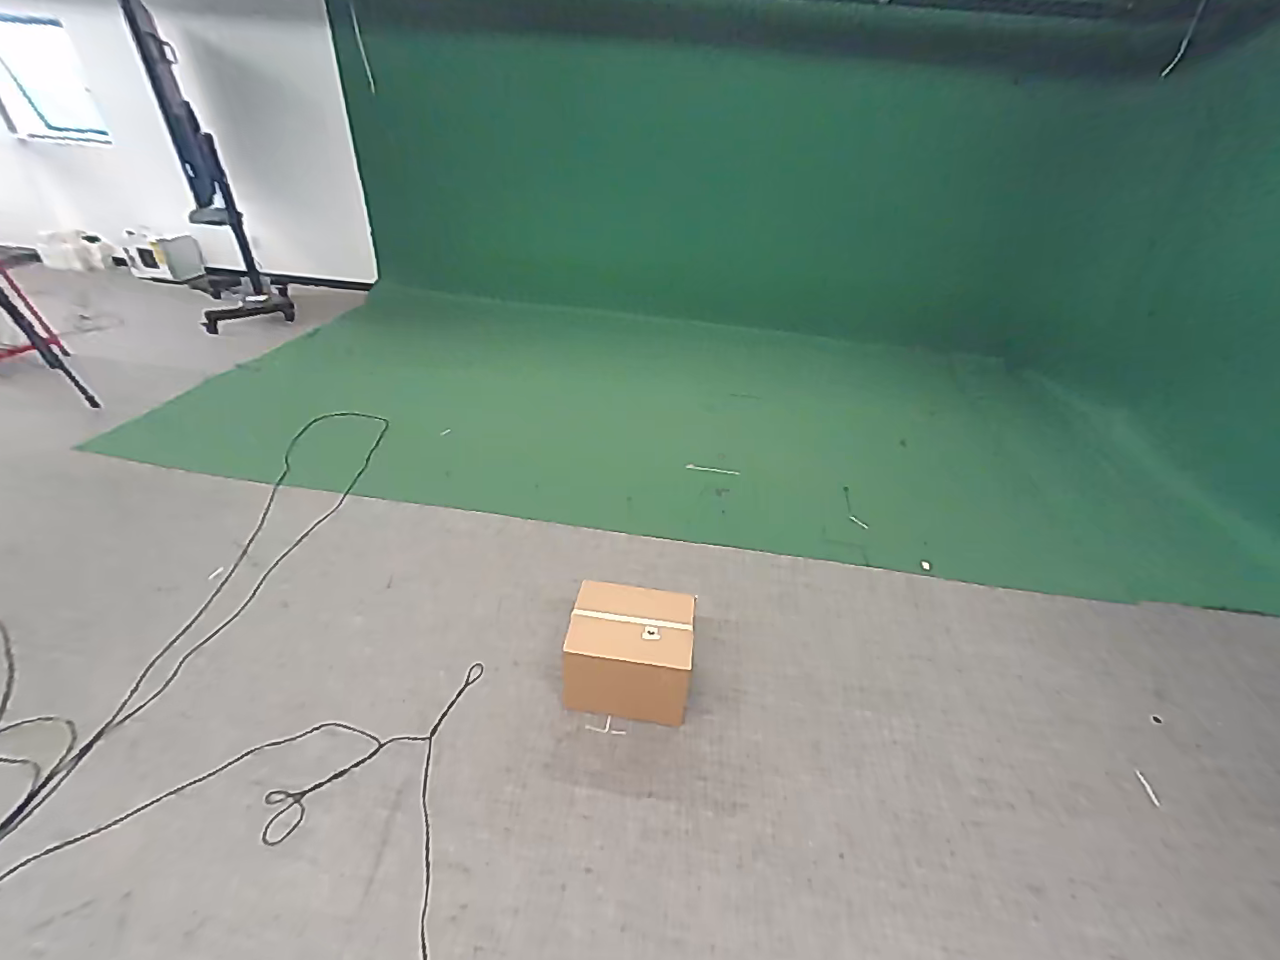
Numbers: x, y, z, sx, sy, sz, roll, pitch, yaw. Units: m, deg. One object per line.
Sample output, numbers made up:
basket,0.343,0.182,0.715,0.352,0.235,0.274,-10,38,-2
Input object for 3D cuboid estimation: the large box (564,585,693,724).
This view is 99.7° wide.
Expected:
large box,-0.038,0.601,1.871,0.408,0.320,0.320,7,34,3
